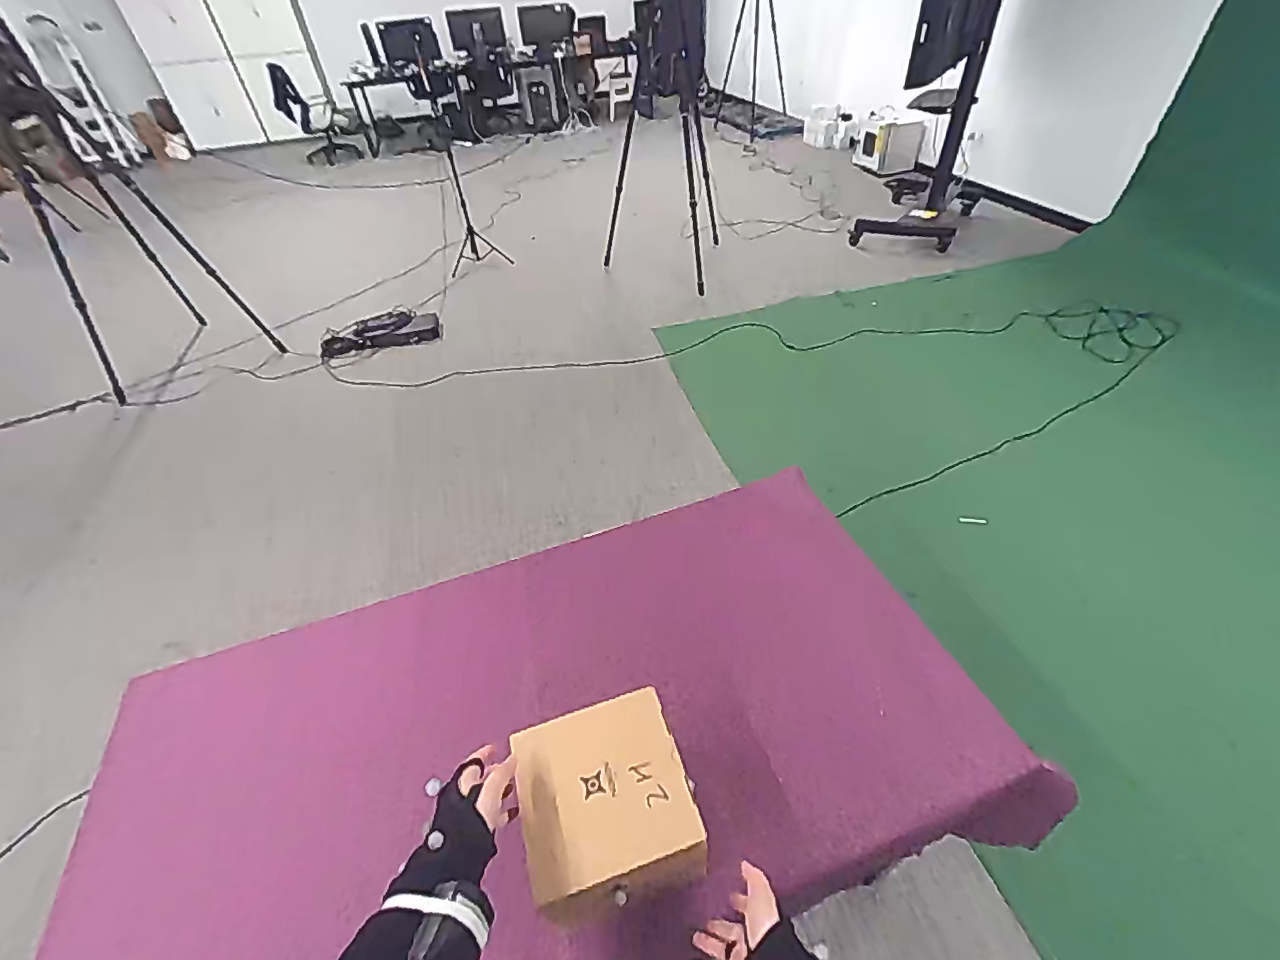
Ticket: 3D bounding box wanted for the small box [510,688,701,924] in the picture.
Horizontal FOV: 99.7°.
[{"bbox_3d":[-0.037,0.376,0.624,0.179,0.176,0.168,-15,45,-10],"label":"small box"}]
